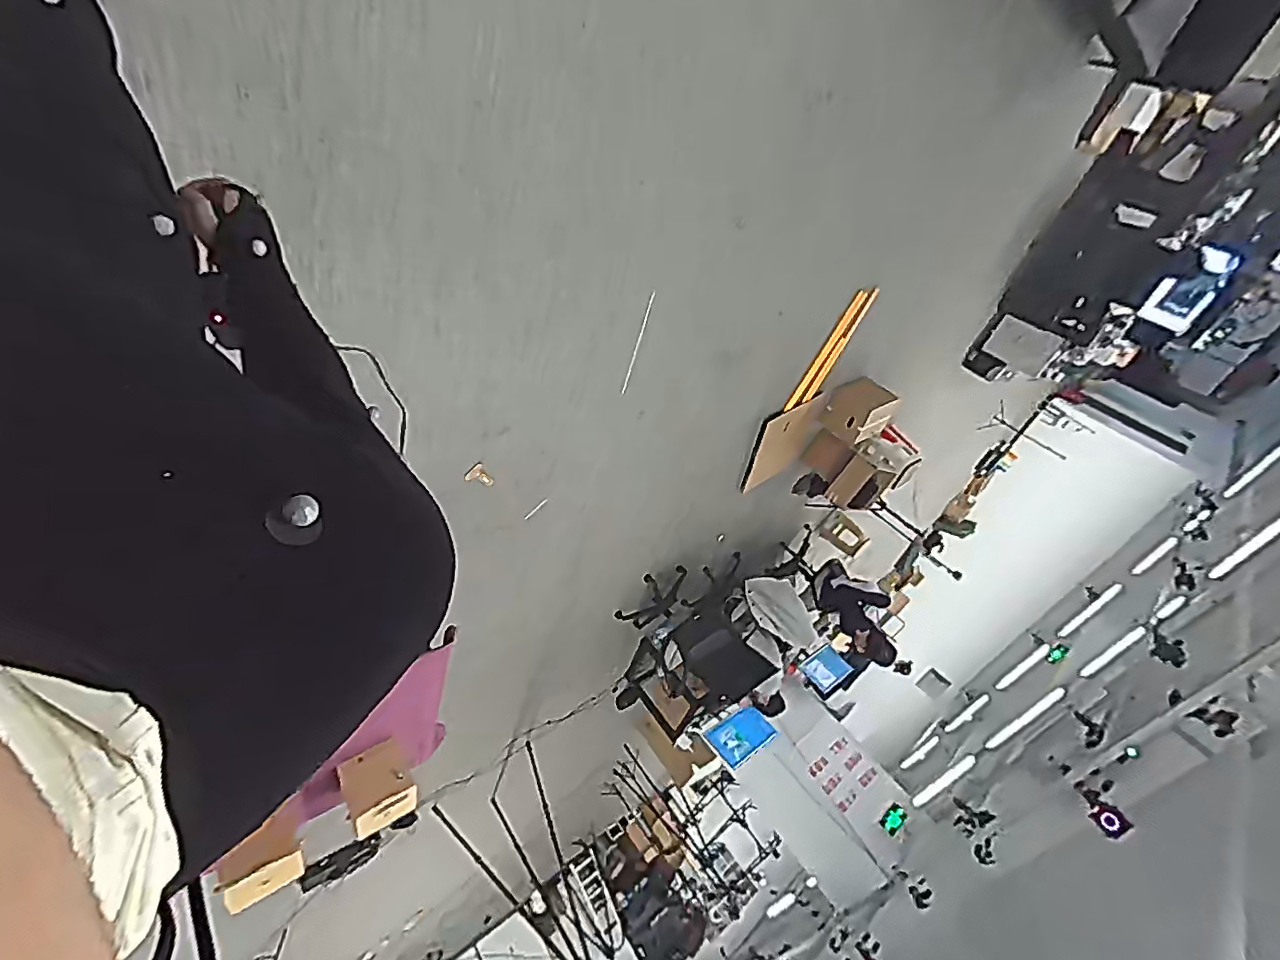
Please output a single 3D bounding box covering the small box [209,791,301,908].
[{"bbox_3d":[-1.011,0.964,1.423,0.168,0.176,0.179,-14,137,-39],"label":"small box"}]
